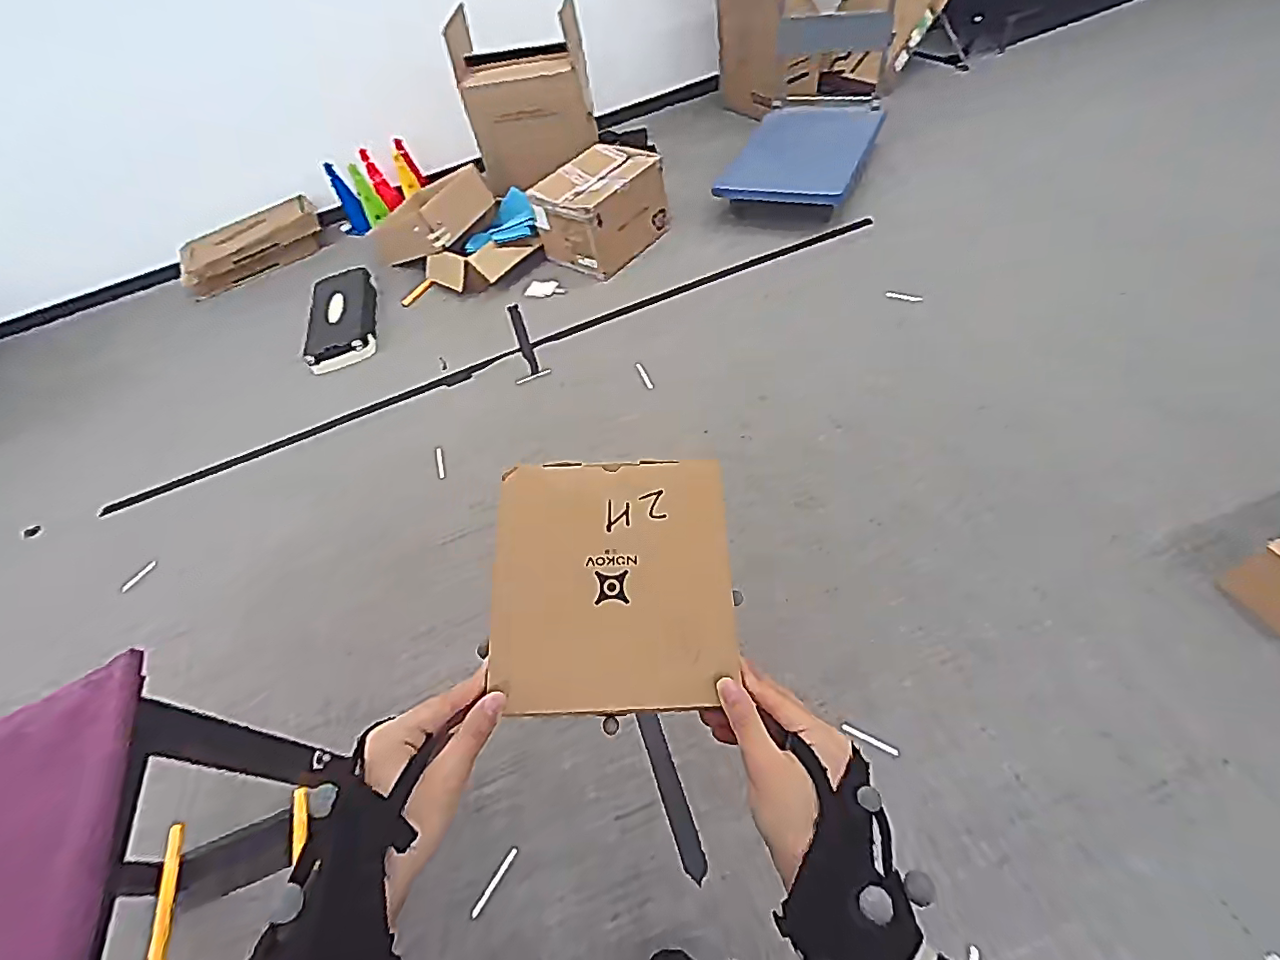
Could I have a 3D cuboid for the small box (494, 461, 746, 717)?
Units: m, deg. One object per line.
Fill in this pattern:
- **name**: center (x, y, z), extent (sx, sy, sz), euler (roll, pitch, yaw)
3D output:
- **small box**: center (-0.014, 0.098, 0.449), extent (0.168, 0.176, 0.179), euler (-1, 66, -2)
